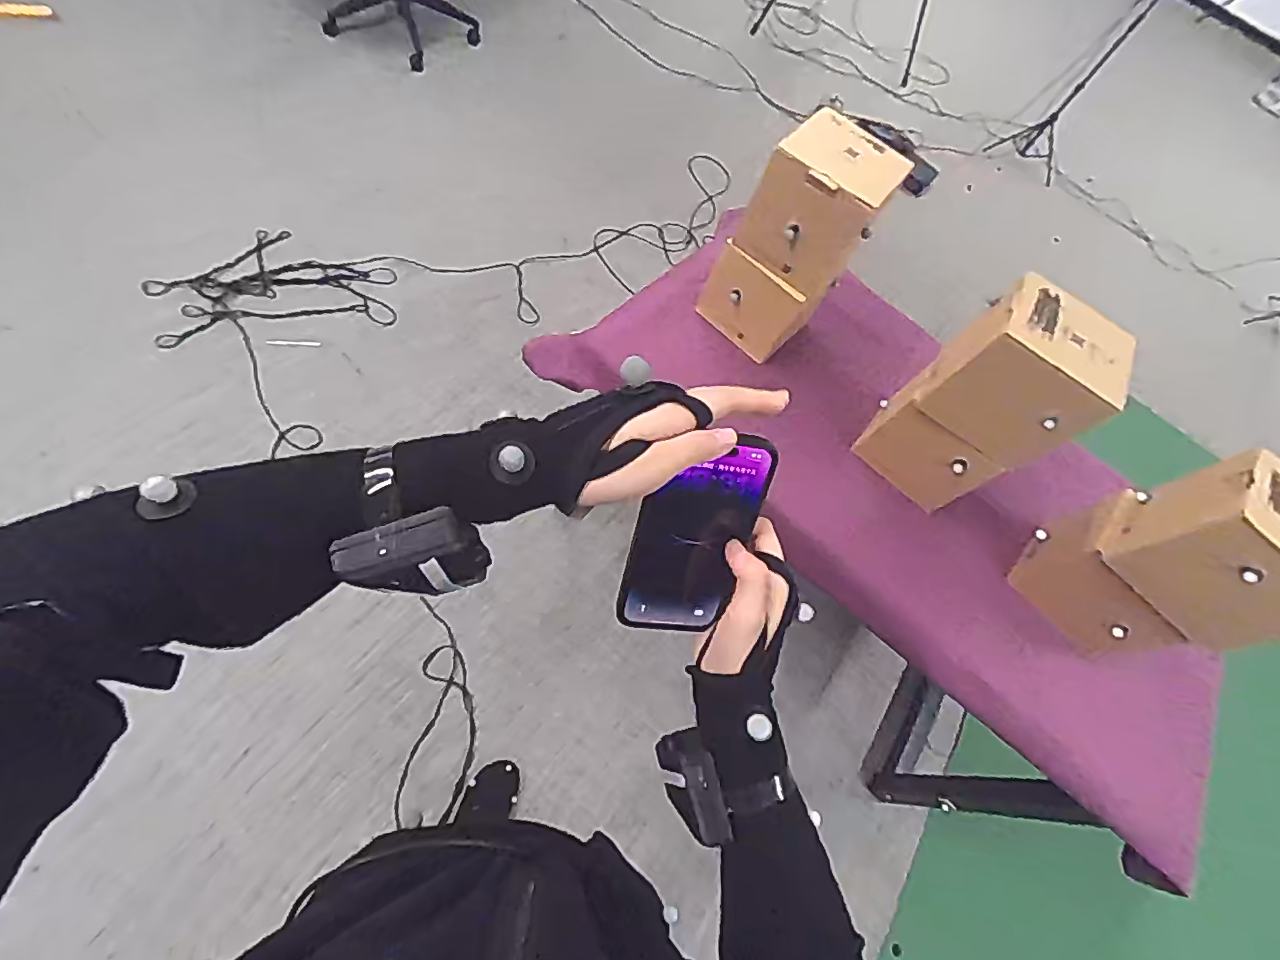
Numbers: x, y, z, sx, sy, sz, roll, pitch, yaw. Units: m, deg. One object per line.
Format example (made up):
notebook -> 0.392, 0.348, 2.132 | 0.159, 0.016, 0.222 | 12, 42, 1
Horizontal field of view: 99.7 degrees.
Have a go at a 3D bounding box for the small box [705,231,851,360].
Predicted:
small box -> 0.238, -0.352, 0.985 | 0.168, 0.176, 0.179 | 42, 61, 9

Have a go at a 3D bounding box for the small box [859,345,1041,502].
small box -> 0.514, -0.085, 0.914 | 0.179, 0.176, 0.168 | 41, 61, 9

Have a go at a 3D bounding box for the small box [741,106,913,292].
small box -> 0.280, -0.432, 0.847 | 0.168, 0.176, 0.179 | 38, 61, 6

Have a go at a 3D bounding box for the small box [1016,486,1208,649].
small box -> 0.757, 0.147, 0.856 | 0.168, 0.176, 0.179 | -36, 76, -28

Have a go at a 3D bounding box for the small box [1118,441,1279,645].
small box -> 0.790, 0.088, 0.706 | 0.168, 0.176, 0.179 | -37, 77, -28
